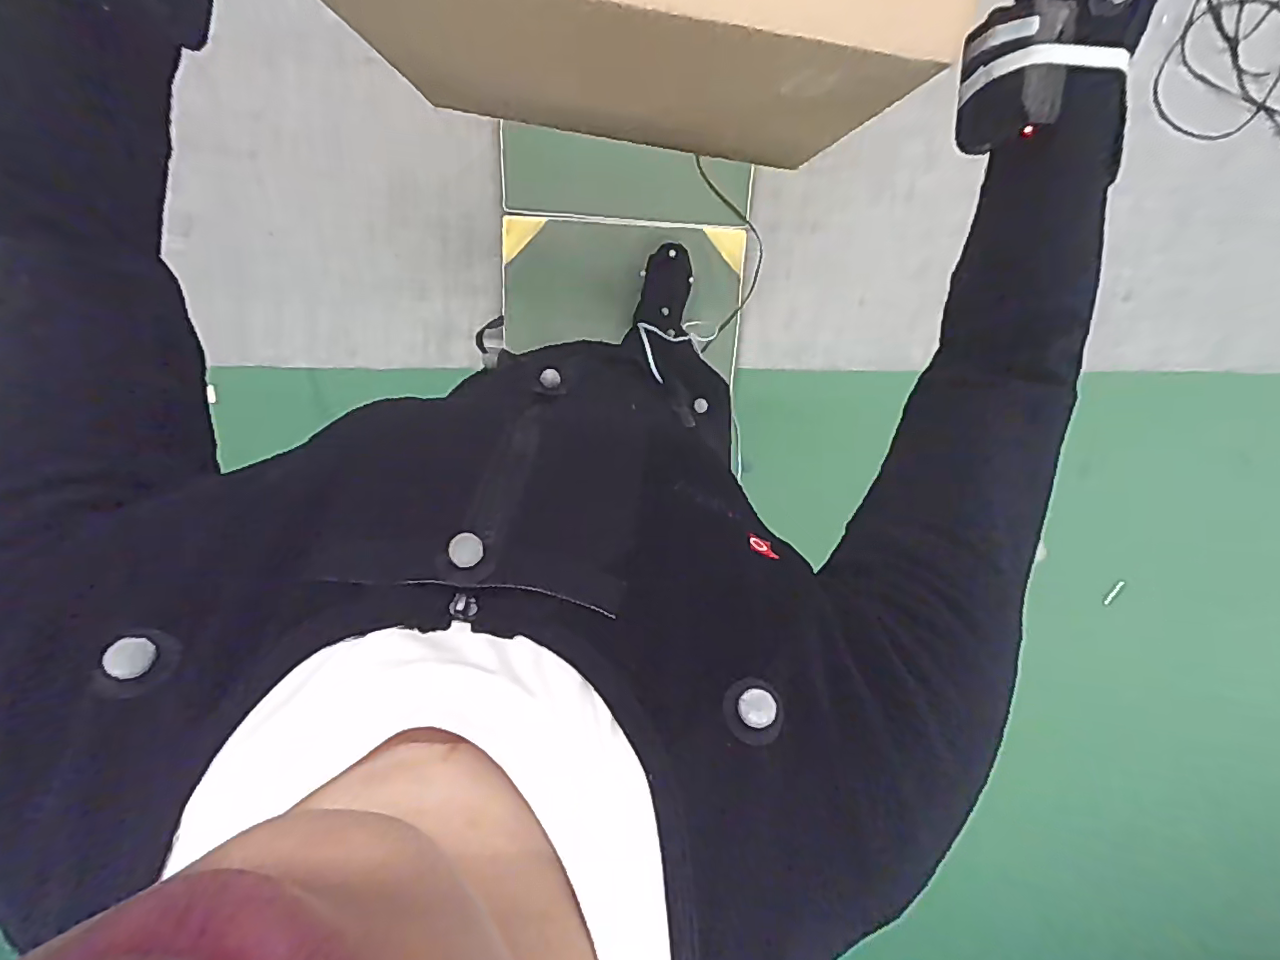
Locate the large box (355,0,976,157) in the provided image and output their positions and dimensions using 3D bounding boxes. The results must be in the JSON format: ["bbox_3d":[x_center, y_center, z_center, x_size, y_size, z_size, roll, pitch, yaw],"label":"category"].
[{"bbox_3d":[0.009,-0.473,0.401,0.408,0.320,0.320,6,110,-6],"label":"large box"}]
